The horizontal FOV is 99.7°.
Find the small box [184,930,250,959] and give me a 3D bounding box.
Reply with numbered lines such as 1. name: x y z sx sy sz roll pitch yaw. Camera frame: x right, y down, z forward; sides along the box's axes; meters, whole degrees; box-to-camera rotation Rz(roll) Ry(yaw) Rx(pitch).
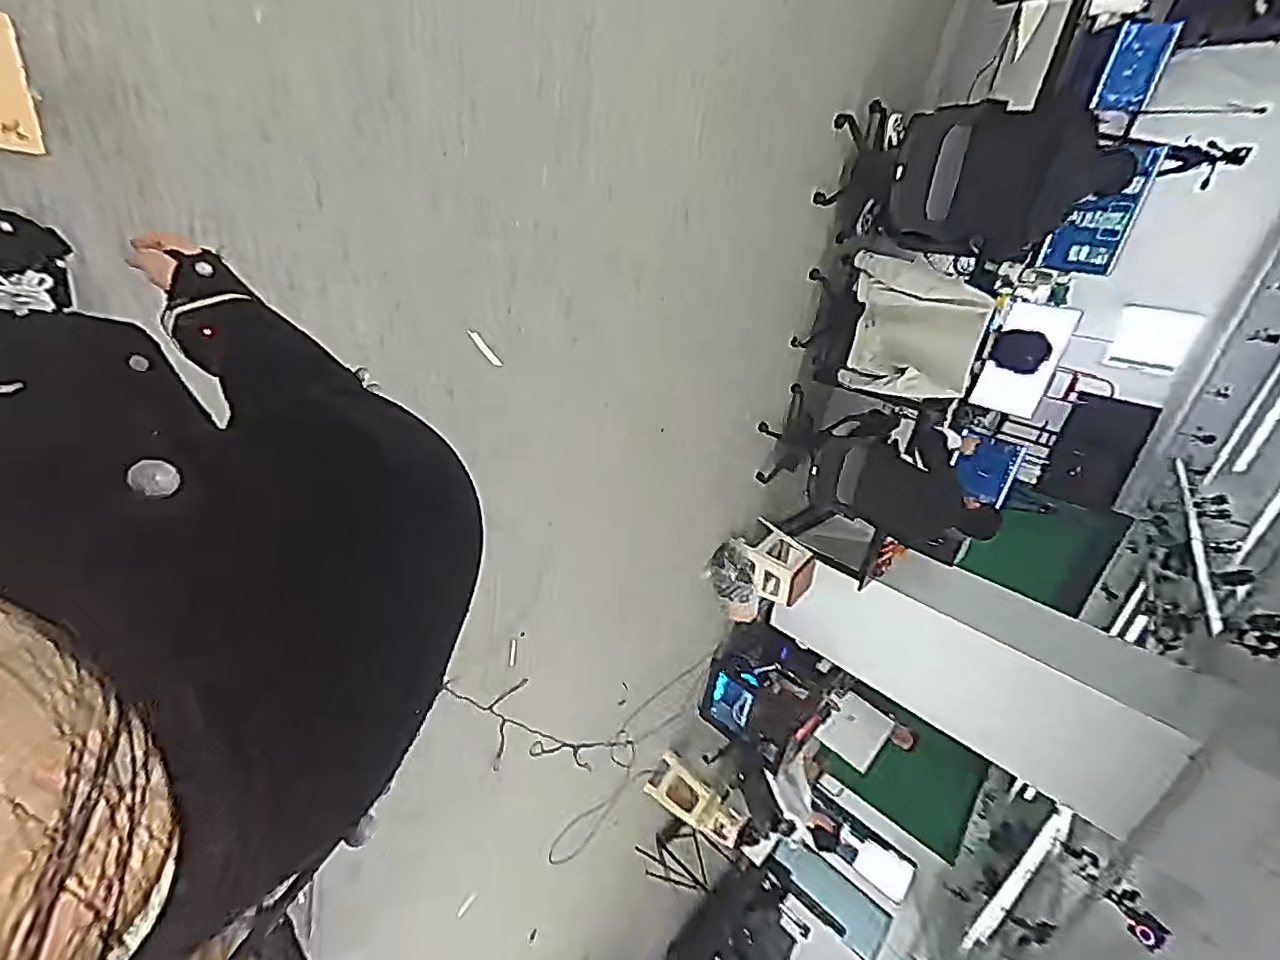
1. small box: -1.349 1.596 1.719 0.168 0.176 0.179 -15 124 -46

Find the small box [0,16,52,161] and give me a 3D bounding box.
1. small box: -1.003 -0.577 0.783 0.168 0.176 0.179 -18 124 -45
